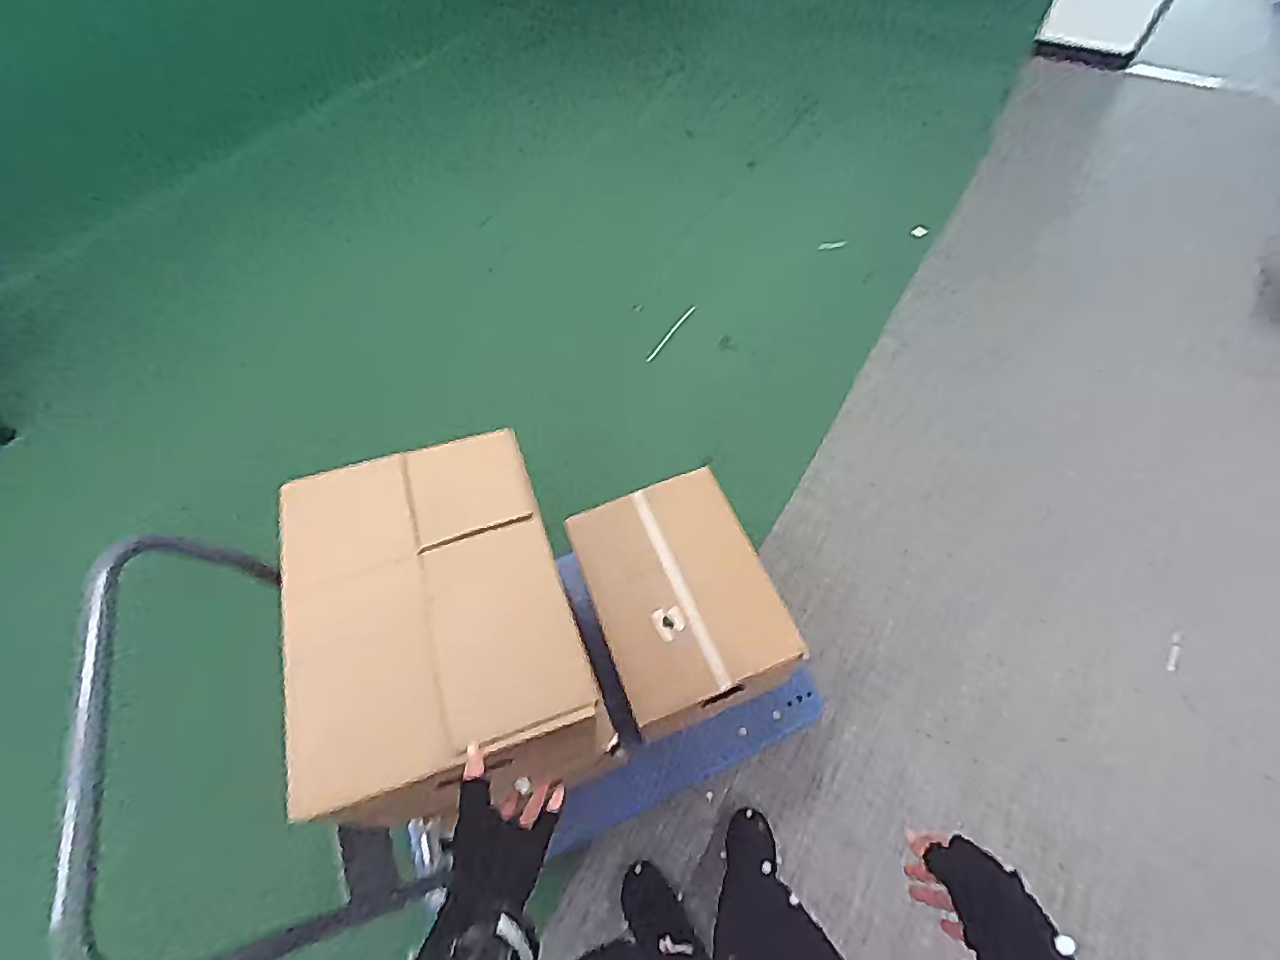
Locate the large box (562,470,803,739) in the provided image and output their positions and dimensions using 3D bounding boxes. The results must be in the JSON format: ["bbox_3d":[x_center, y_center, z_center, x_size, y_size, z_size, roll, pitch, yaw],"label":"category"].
[{"bbox_3d":[0.065,0.258,1.111,0.320,0.320,0.408,-20,61,-9],"label":"large box"}]
